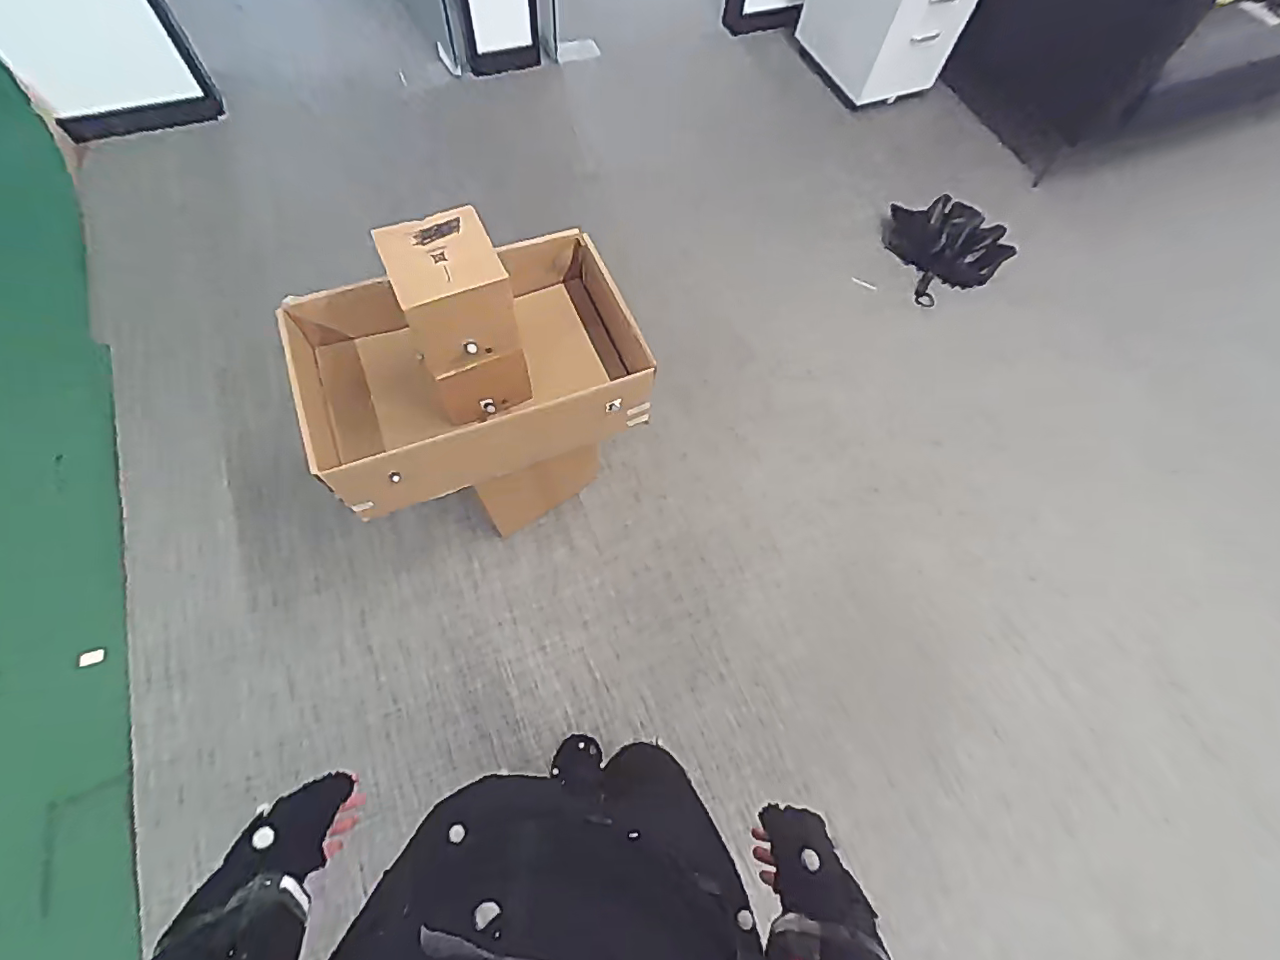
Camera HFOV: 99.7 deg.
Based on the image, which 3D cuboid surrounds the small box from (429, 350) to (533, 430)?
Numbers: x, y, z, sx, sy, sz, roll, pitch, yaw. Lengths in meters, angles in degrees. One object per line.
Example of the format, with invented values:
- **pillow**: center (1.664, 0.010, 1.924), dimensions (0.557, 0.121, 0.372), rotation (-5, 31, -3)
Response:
- **small box**: center (-0.324, -0.229, 1.060), dimensions (0.168, 0.176, 0.179), rotation (-25, 69, -14)

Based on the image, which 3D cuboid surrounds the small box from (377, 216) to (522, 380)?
- **small box**: center (-0.313, -0.302, 0.914), dimensions (0.168, 0.176, 0.179), rotation (-23, 69, -13)
